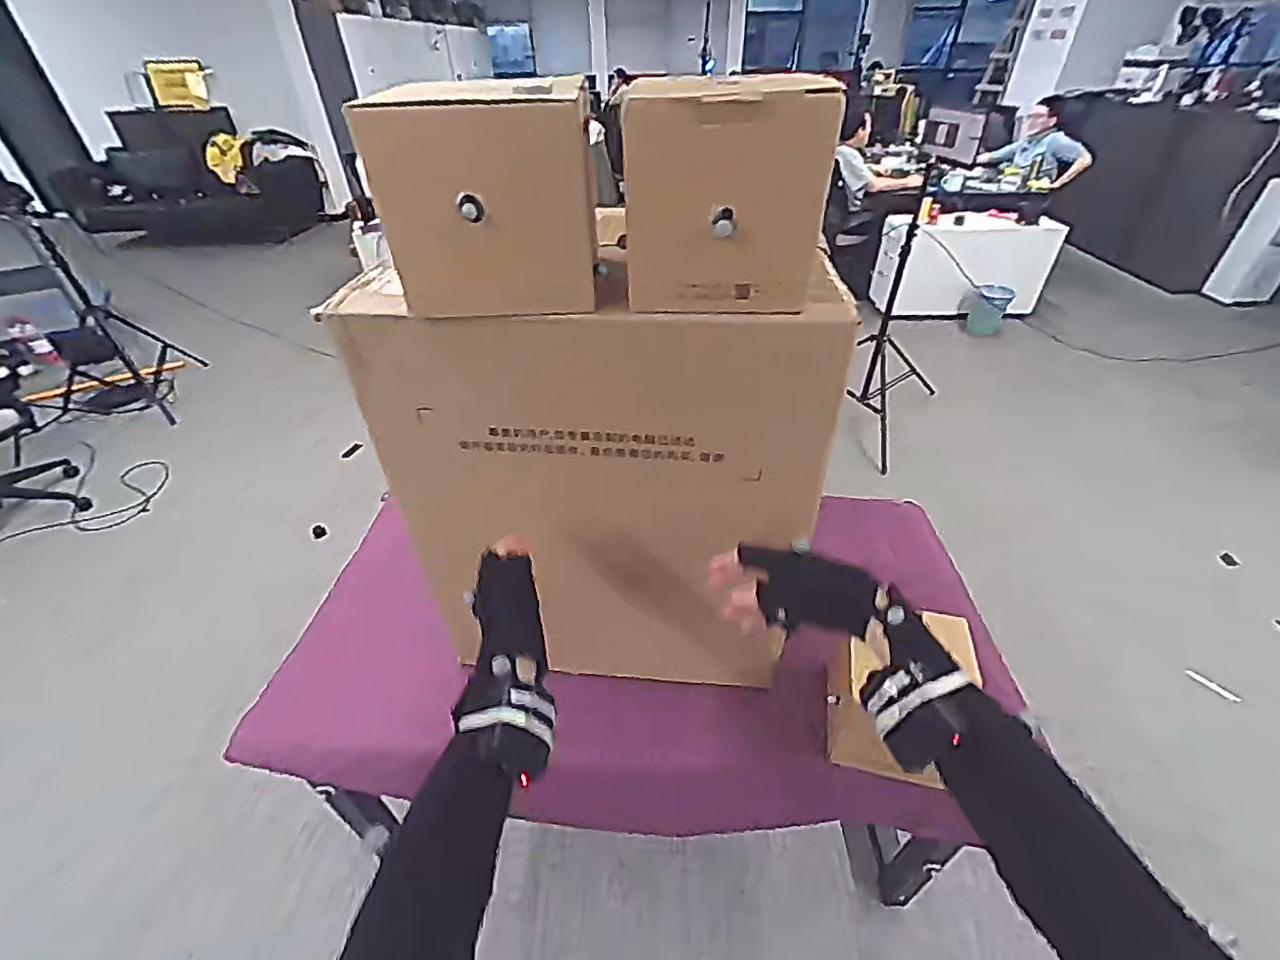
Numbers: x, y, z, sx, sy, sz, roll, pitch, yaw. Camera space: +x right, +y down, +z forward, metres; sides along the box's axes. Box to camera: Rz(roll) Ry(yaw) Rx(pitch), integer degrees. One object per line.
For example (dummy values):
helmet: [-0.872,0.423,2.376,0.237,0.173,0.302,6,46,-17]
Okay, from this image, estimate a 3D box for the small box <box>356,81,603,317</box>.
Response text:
small box: [-0.127,-0.268,0.517,0.179,0.176,0.168,-3,40,0]

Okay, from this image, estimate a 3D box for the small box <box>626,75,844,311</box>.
small box: [0.079,-0.273,0.516,0.168,0.176,0.179,2,40,3]

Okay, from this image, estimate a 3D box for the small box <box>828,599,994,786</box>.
small box: [0.374,0.306,0.783,0.168,0.176,0.179,9,38,12]
